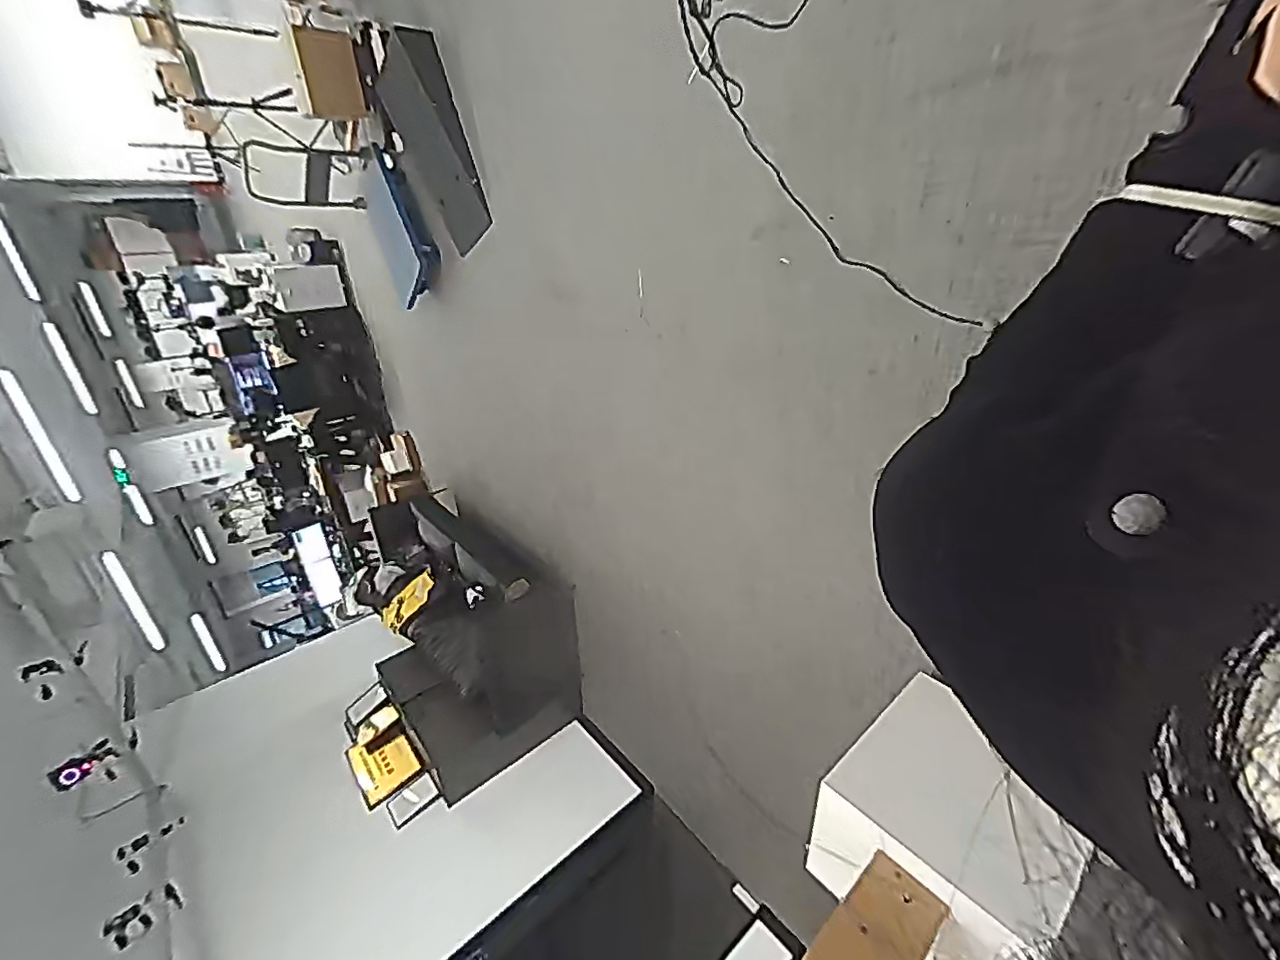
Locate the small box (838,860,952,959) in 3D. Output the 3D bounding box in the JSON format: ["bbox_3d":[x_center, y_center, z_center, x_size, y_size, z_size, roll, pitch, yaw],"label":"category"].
[{"bbox_3d":[0.578,1.027,1.228,0.168,0.176,0.179,26,128,44],"label":"small box"}]
